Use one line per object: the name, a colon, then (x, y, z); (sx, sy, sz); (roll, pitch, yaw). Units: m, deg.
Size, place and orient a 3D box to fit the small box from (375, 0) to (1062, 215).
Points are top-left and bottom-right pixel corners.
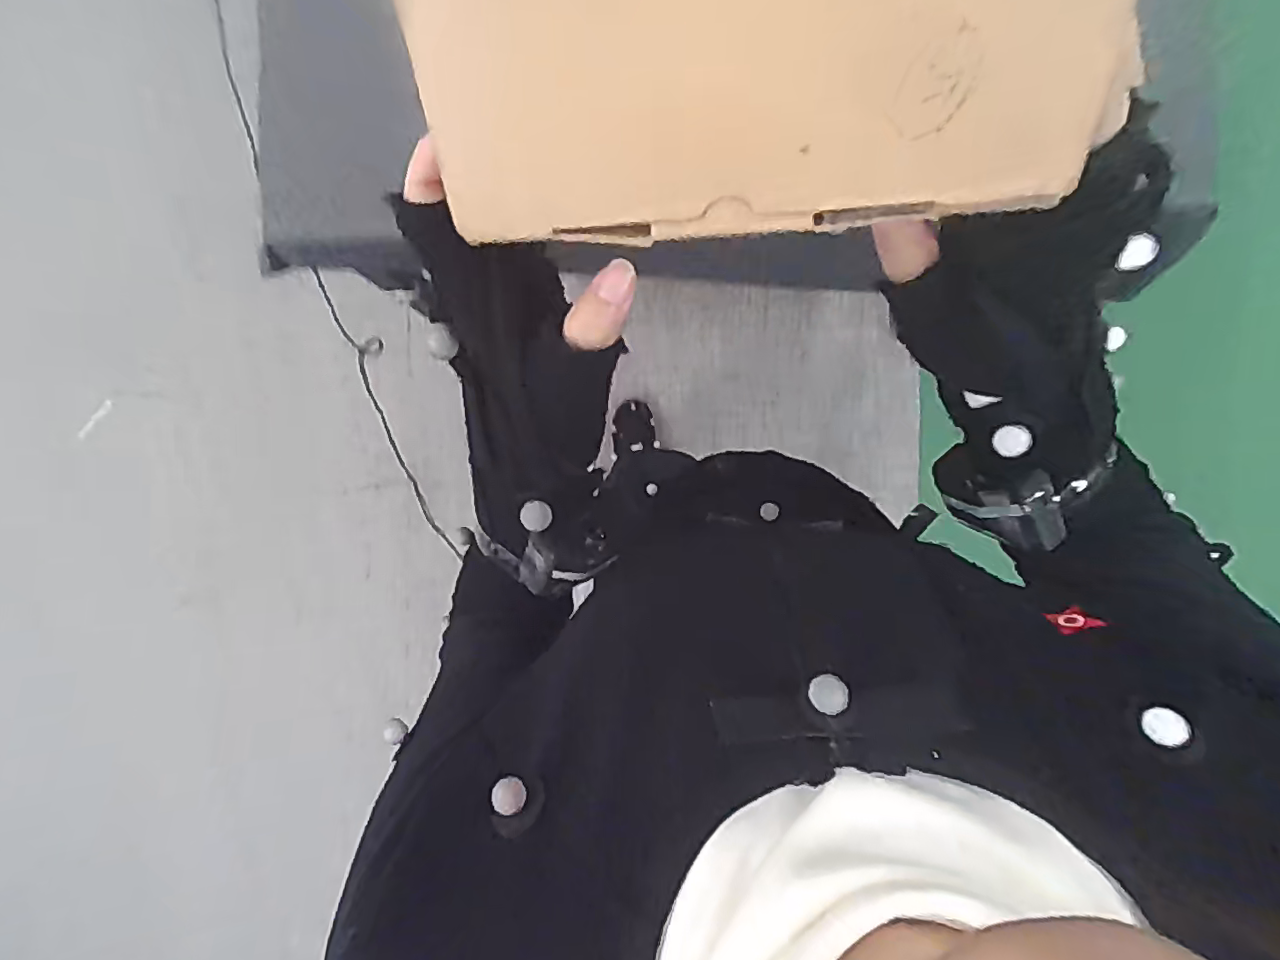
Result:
small box: (0.025, -0.195, 0.169); (0.168, 0.176, 0.179); (3, 123, 13)
